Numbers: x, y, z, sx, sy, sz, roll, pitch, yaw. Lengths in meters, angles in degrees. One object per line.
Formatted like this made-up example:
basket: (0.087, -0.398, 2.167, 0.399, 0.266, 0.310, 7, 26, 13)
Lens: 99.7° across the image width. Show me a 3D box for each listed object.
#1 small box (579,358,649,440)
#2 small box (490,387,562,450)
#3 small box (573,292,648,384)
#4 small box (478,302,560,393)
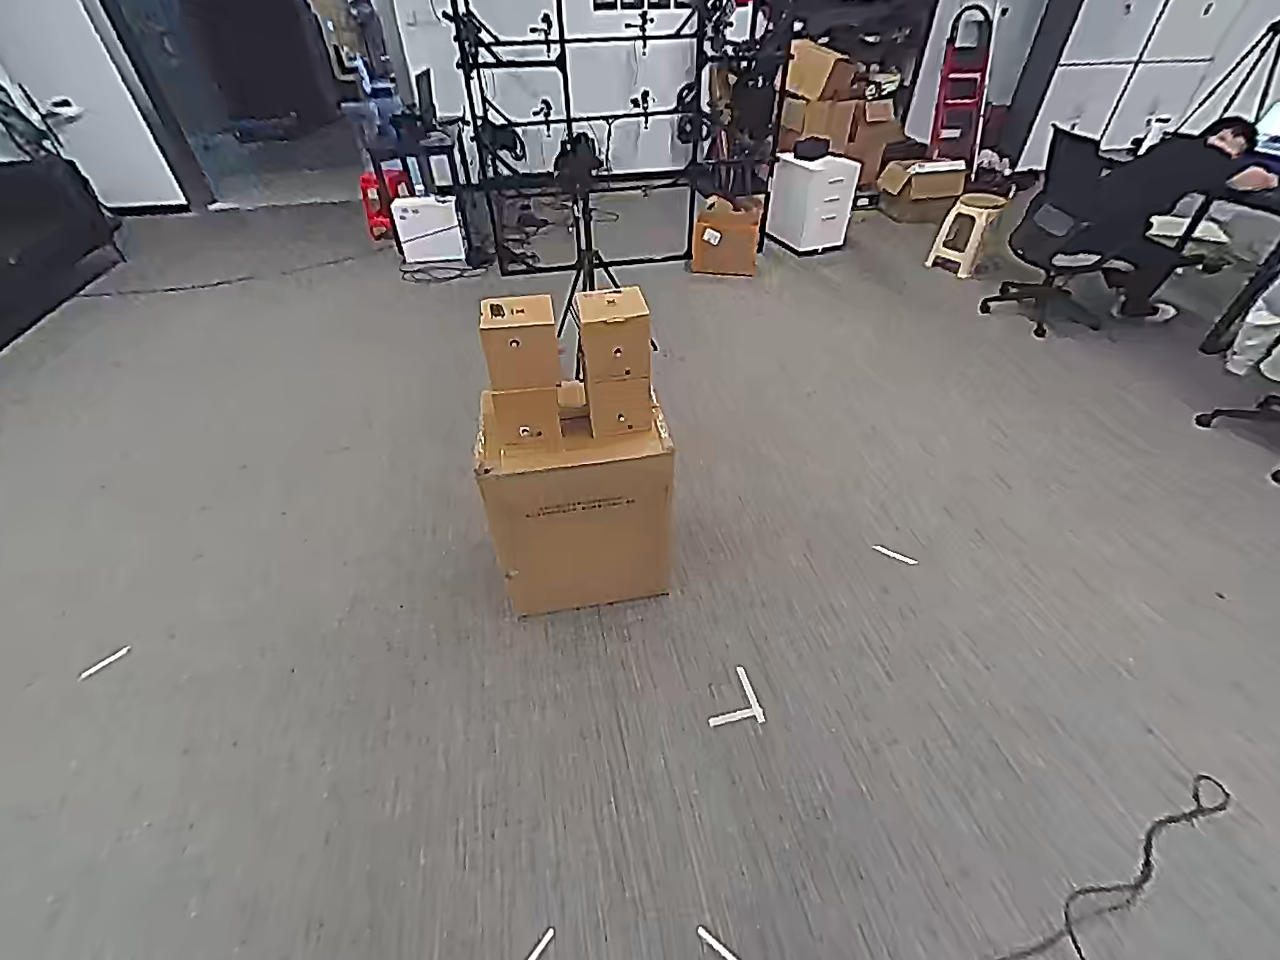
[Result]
small box: (-0.072, -0.232, 1.493, 0.168, 0.176, 0.179, -9, 43, -6)
small box: (-0.309, -0.205, 1.473, 0.168, 0.176, 0.179, -9, 43, -8)
small box: (-0.074, -0.357, 1.387, 0.168, 0.176, 0.179, -9, 43, -6)
small box: (-0.303, -0.333, 1.369, 0.179, 0.176, 0.168, -7, 42, -8)
